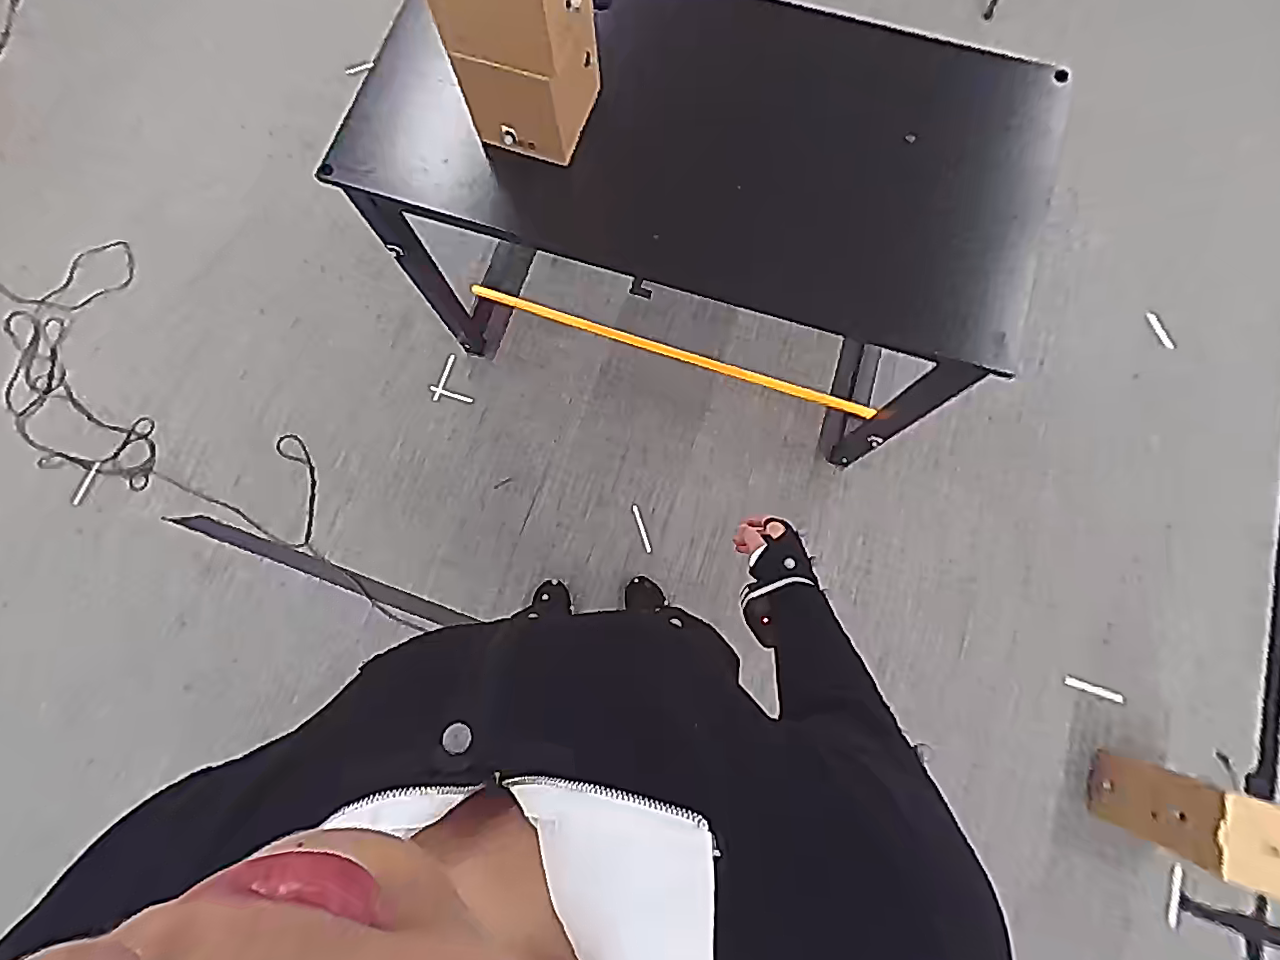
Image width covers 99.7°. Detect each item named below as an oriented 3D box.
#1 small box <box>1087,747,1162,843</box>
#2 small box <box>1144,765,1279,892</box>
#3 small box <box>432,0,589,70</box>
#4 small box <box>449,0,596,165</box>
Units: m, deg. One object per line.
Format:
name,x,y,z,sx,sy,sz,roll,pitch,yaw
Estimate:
small box,1.242,0.771,1.302,0.179,0.176,0.168,19,79,5
small box,1.230,0.729,1.143,0.179,0.176,0.168,17,79,5
small box,-0.178,-0.692,0.714,0.179,0.176,0.168,17,79,4
small box,-0.176,-0.660,0.876,0.168,0.176,0.179,17,80,5
